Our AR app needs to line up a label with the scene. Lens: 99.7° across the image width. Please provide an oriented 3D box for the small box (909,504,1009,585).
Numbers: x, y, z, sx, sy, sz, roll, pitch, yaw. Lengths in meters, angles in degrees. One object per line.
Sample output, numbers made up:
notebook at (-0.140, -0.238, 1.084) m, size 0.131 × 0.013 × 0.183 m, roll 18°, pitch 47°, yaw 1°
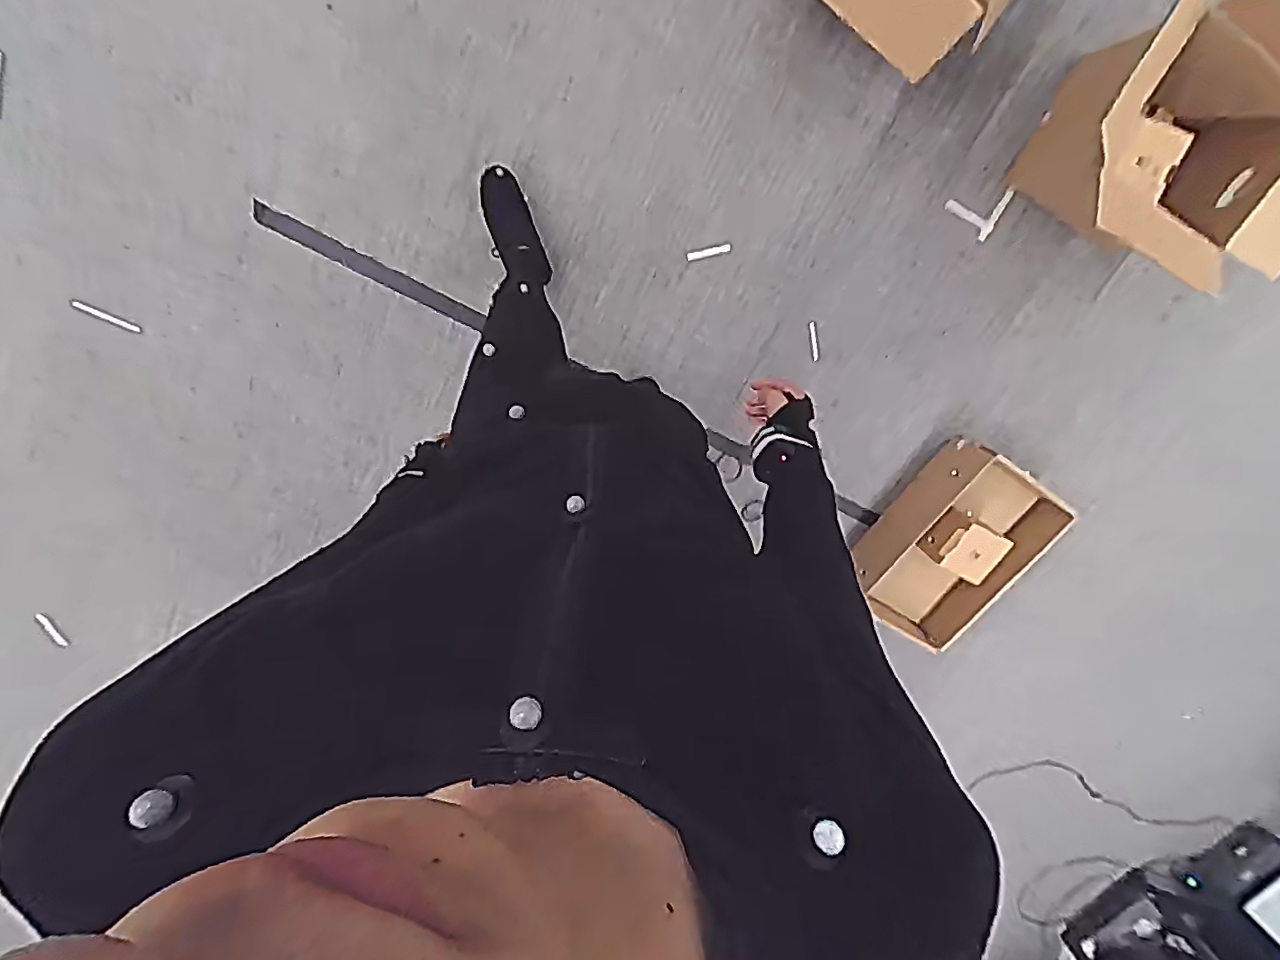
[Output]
small box at (1.001, 0.197, 1.717) m, size 0.179 × 0.176 × 0.168 m, roll 25°, pitch 110°, yaw -15°
